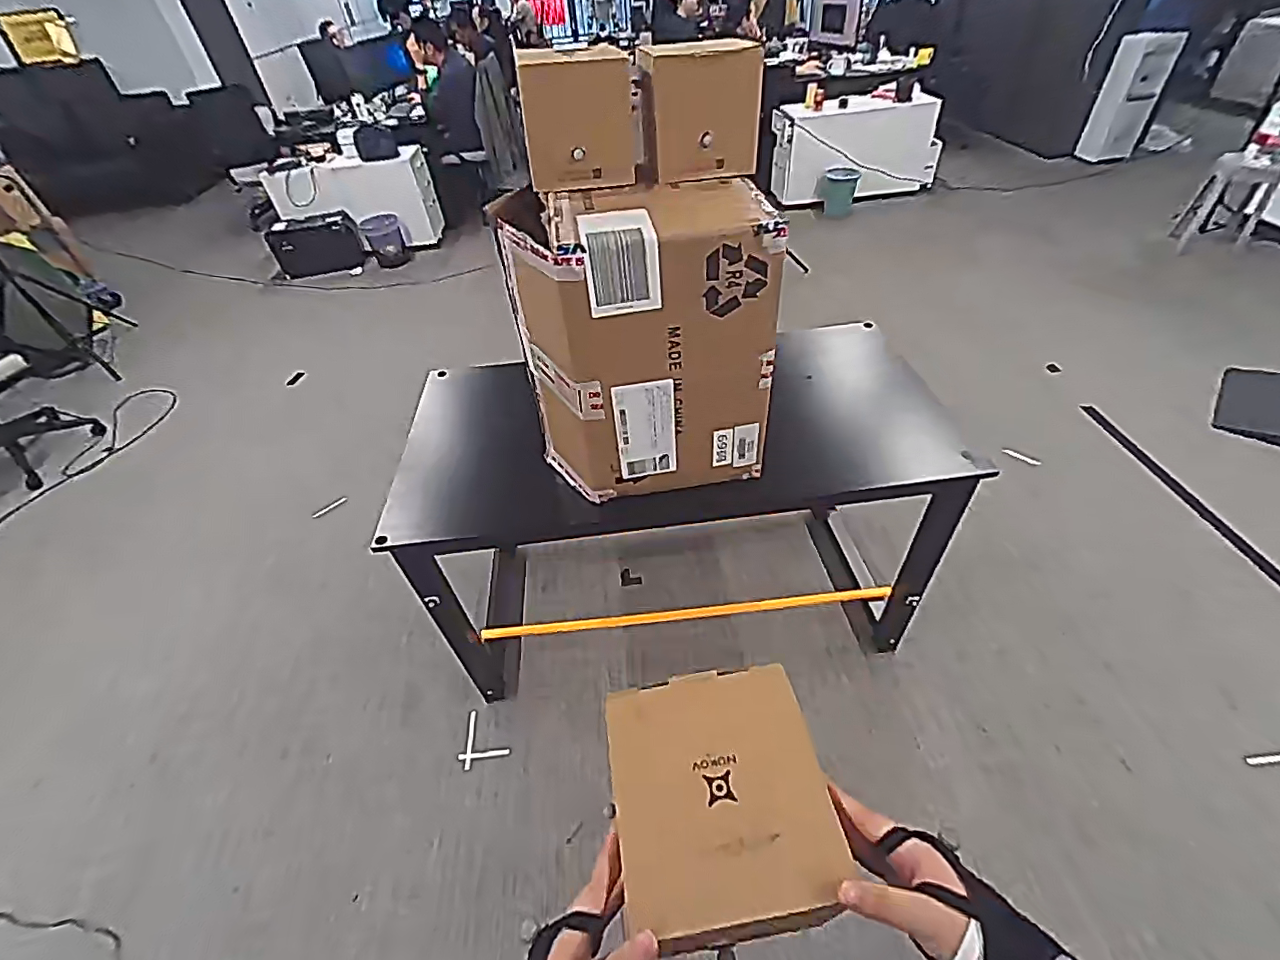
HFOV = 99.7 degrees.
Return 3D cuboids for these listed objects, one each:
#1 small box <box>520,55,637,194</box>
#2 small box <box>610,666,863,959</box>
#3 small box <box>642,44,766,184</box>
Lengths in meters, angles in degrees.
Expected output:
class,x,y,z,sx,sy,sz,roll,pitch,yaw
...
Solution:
class,x,y,z,sx,sy,sz,roll,pitch,yaw
small box,-0.100,-0.579,0.882,0.168,0.176,0.179,-8,42,-6
small box,0.067,0.296,0.484,0.168,0.176,0.179,-8,45,-4
small box,0.097,-0.605,0.895,0.168,0.176,0.179,-9,42,-3
